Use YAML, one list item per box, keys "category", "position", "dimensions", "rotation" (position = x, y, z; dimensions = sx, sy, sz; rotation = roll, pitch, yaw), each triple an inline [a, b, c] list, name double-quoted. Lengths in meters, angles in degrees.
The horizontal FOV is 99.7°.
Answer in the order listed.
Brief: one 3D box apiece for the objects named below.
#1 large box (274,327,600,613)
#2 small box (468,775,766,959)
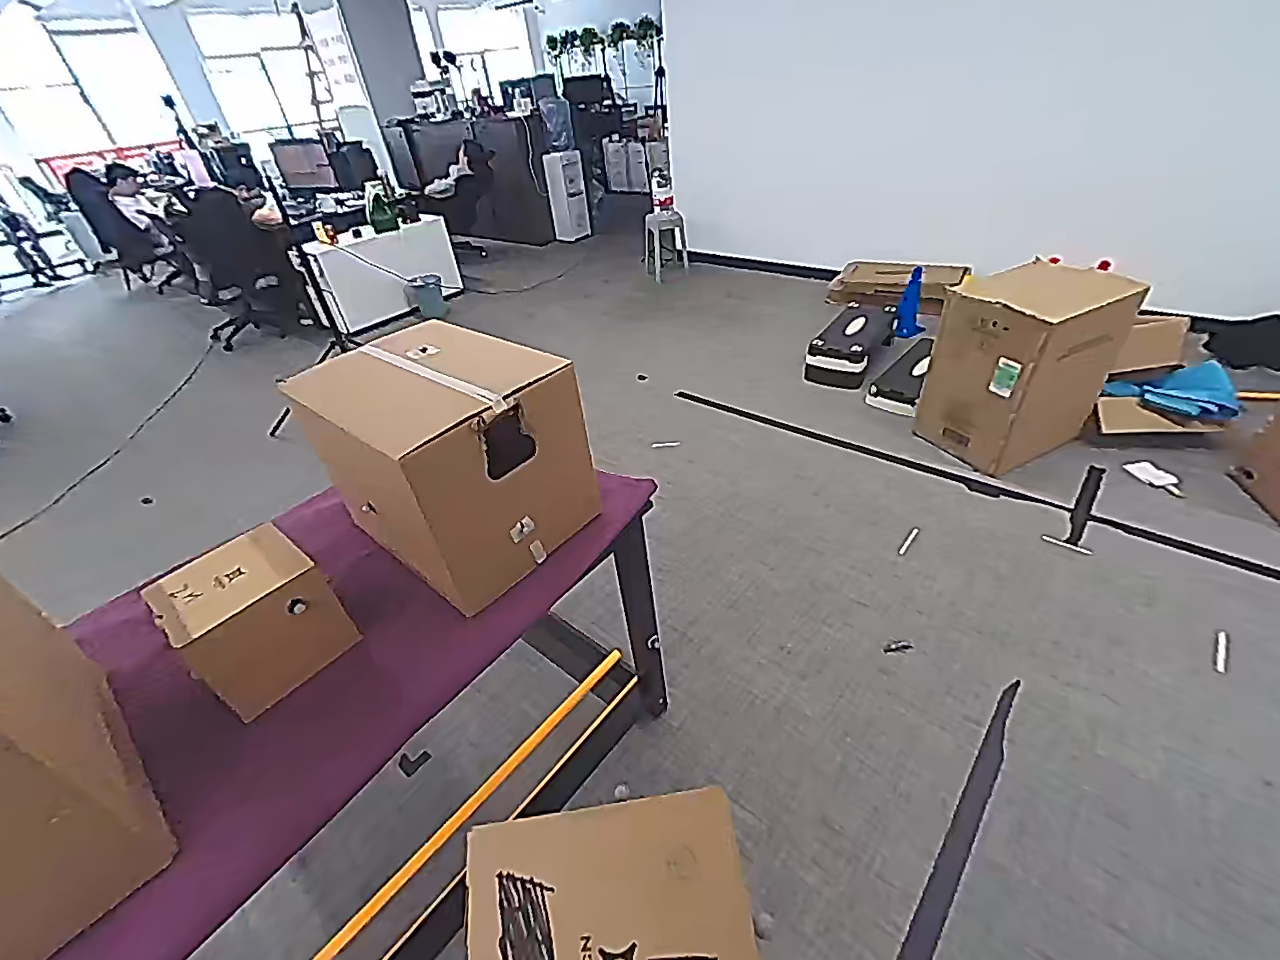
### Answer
- category: "large box"
  position: [-0.333, -0.041, 0.948]
  dimensions: [0.408, 0.320, 0.320]
  rotation: [22, 45, 34]
- category: "small box"
  position: [-0.005, 0.318, 0.379]
  dimensions: [0.179, 0.176, 0.168]
  rotation: [-11, 57, 2]
